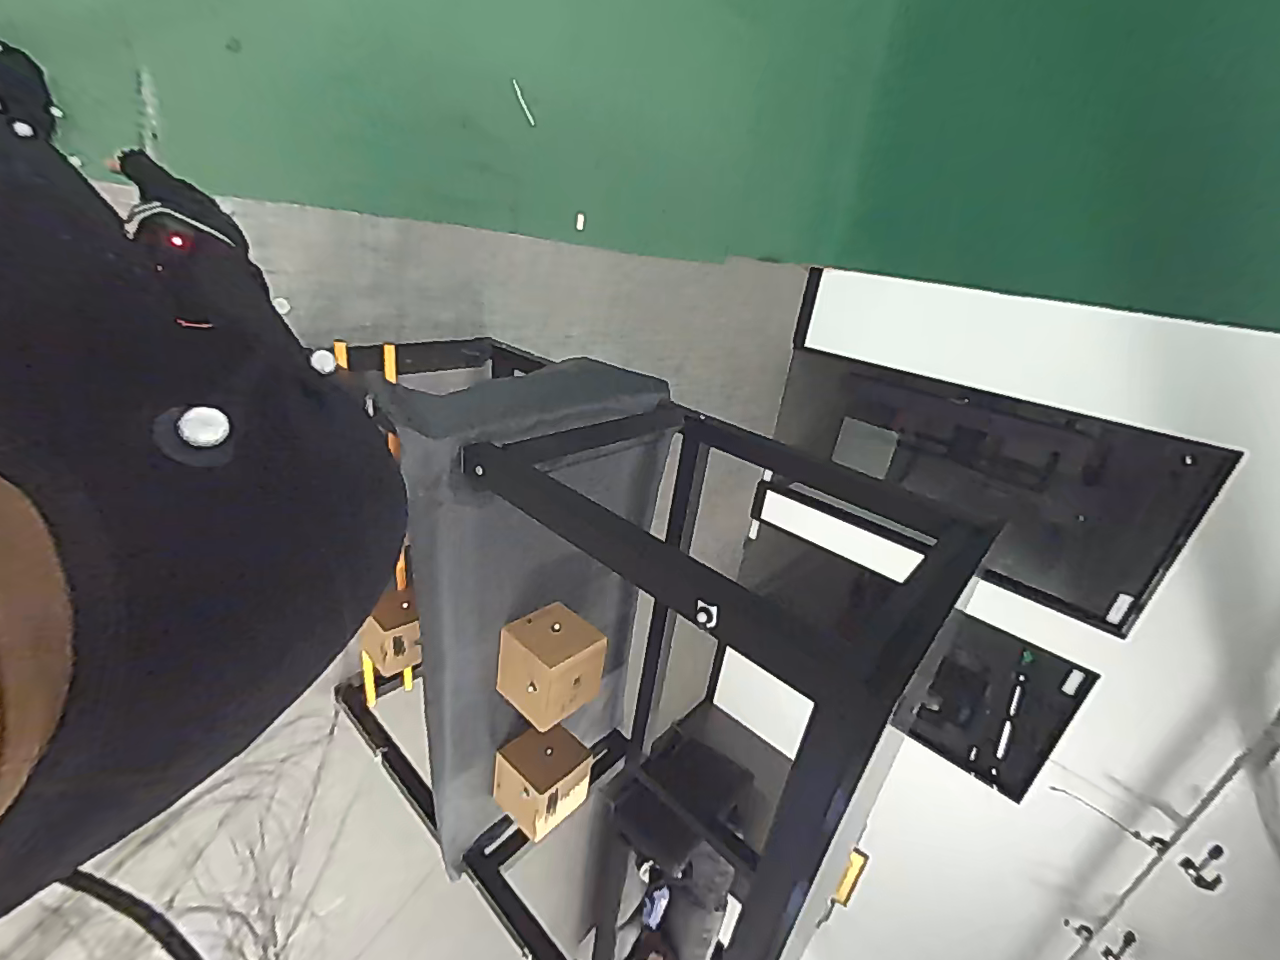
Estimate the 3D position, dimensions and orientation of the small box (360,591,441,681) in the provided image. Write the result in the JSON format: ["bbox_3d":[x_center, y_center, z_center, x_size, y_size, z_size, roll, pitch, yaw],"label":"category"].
[{"bbox_3d":[-0.728,0.465,1.637,0.179,0.176,0.168,-15,123,-48],"label":"small box"}]

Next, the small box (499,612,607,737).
[{"bbox_3d":[-0.197,0.418,1.204,0.168,0.176,0.179,-15,123,-47],"label":"small box"}]
